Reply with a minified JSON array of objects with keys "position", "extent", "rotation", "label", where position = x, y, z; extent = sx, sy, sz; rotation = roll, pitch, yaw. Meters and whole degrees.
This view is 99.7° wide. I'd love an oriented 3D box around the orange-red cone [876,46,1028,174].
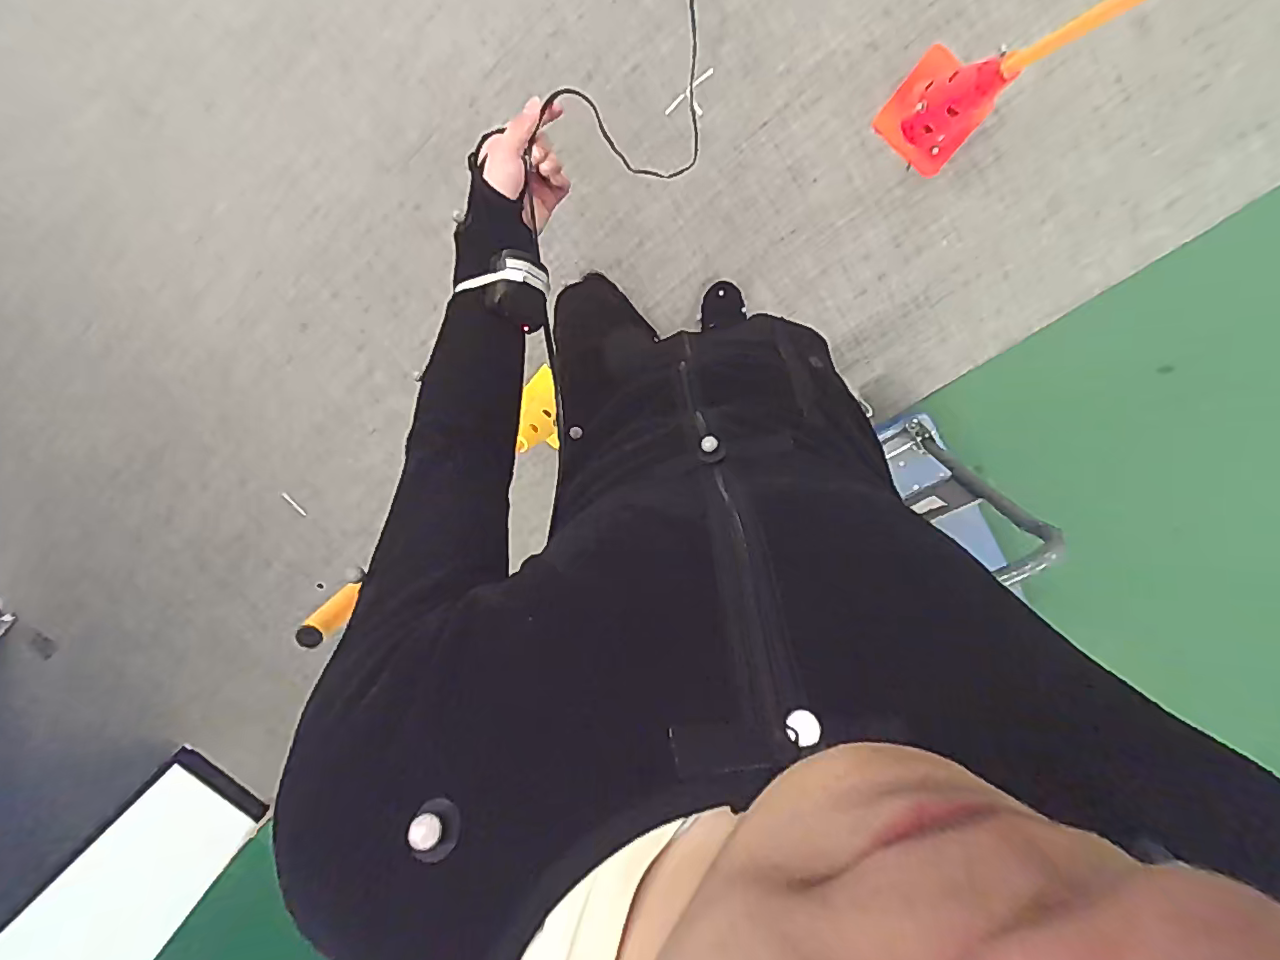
[{"position":[0.660,-0.780,1.084],"extent":[0.198,0.360,0.199],"rotation":[37,110,-10],"label":"orange-red cone"}]
